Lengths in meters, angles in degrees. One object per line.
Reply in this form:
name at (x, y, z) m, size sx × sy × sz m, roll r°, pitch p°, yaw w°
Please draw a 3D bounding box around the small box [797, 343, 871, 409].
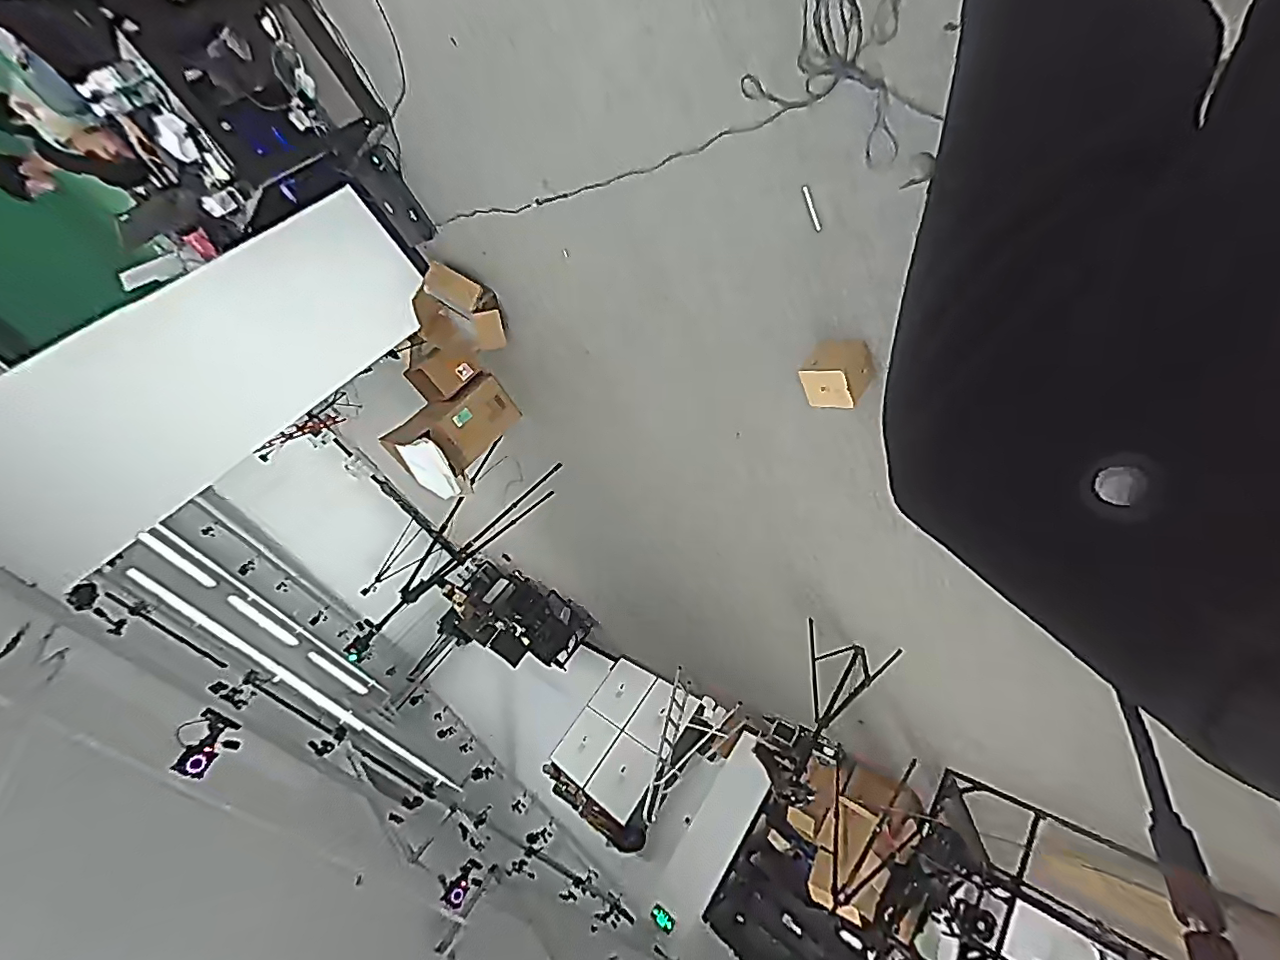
small box at (0.700, -0.376, 1.946) m, size 0.179 × 0.176 × 0.168 m, roll 11°, pitch 143°, yaw 46°
